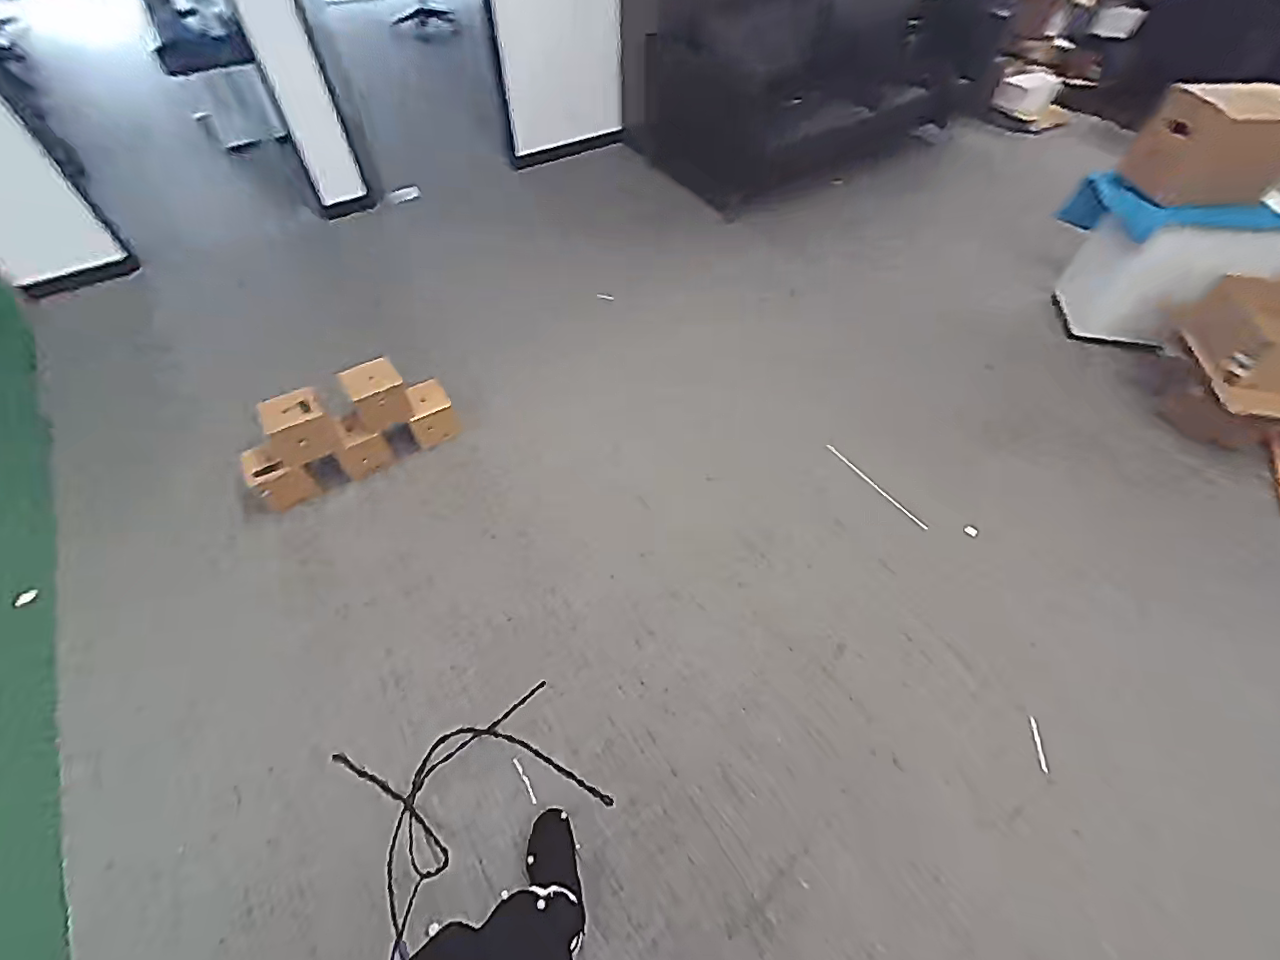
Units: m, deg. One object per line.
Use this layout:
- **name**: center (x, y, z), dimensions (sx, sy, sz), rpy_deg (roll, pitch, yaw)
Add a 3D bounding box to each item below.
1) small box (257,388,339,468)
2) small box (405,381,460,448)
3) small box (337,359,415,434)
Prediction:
- **small box**: center (-1.139, -0.171, 1.815), dimensions (0.179, 0.176, 0.168), rpy_deg (-26, 57, -19)
- **small box**: center (-0.818, -0.245, 2.088), dimensions (0.168, 0.176, 0.179), rpy_deg (-28, 58, -20)
- **small box**: center (-0.930, -0.291, 1.913), dimensions (0.179, 0.176, 0.168), rpy_deg (-28, 59, -23)
